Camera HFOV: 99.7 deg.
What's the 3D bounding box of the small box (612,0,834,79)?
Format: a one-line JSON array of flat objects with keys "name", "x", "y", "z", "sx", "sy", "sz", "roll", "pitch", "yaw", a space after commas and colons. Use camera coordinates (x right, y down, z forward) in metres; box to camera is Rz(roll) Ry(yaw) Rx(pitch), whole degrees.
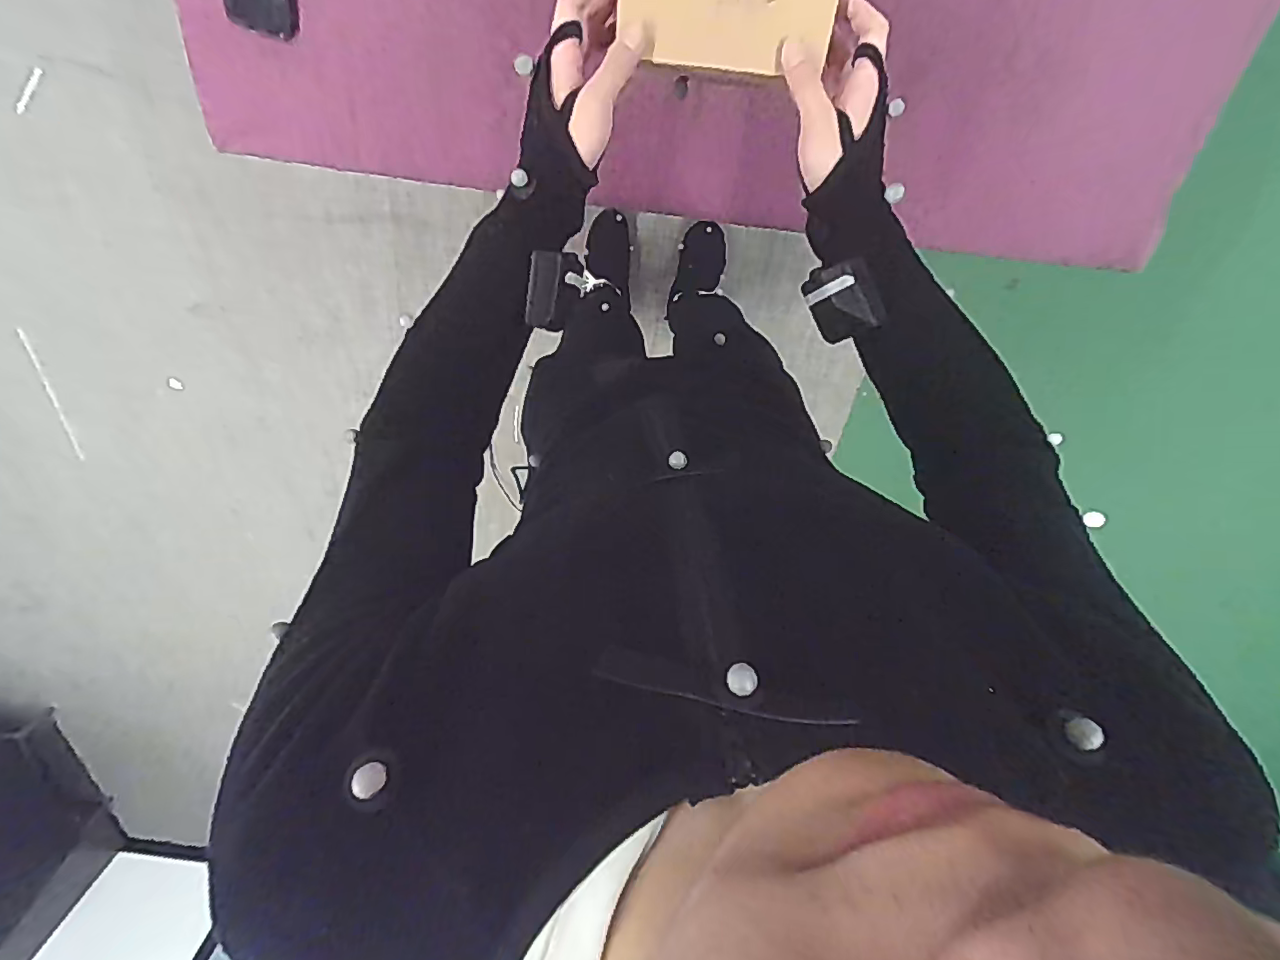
[{"name": "small box", "x": 0.065, "y": -0.444, "z": 0.434, "sx": 0.168, "sy": 0.176, "sz": 0.179, "roll": 4, "pitch": 124, "yaw": -4}]
